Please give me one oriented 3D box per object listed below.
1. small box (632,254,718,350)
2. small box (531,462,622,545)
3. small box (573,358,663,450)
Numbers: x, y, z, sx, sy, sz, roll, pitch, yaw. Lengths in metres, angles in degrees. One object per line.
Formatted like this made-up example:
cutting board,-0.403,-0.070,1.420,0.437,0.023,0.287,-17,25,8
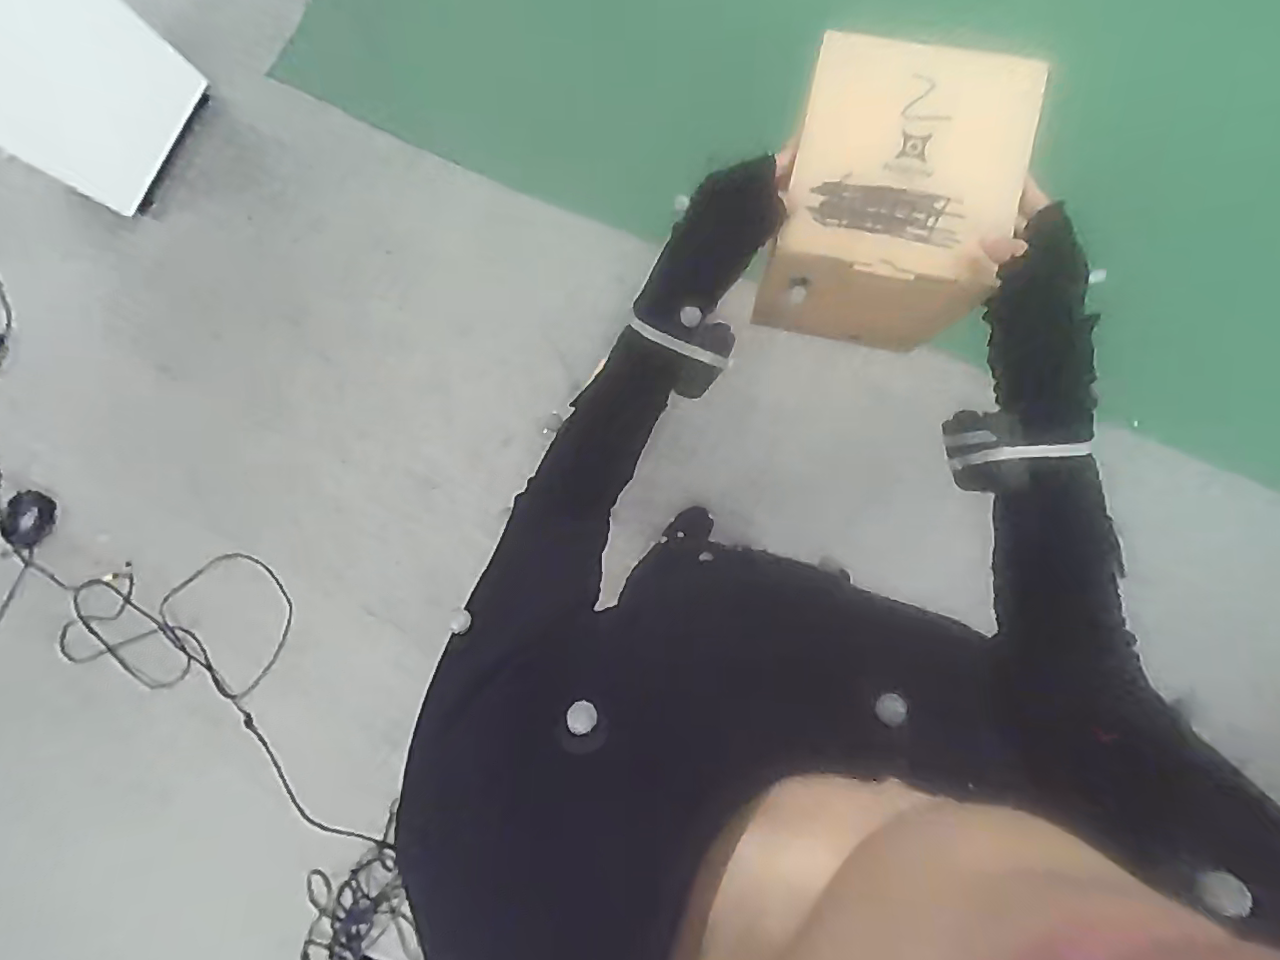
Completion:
small box,0.099,-0.477,1.481,0.179,0.176,0.168,26,87,8
small box,-0.162,0.066,1.449,0.179,0.176,0.168,22,88,6
small box,-0.052,-0.196,1.466,0.179,0.176,0.168,31,87,7
